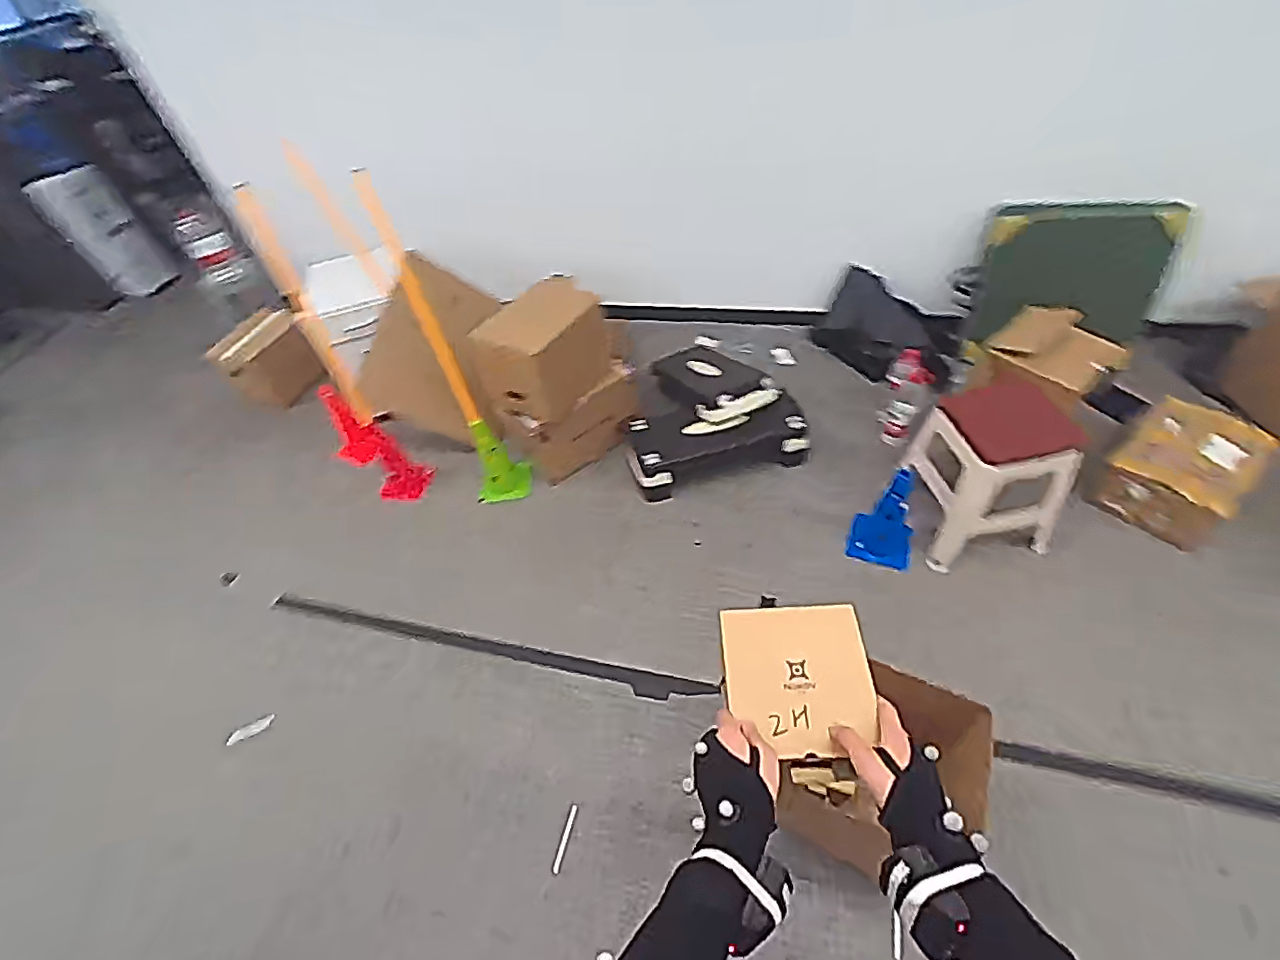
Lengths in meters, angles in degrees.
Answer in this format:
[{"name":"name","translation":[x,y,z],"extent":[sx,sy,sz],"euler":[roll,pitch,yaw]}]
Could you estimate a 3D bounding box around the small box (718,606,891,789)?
[{"name":"small box","translation":[0.187,0.276,0.679],"extent":[0.168,0.176,0.179],"euler":[-5,54,5]}]
